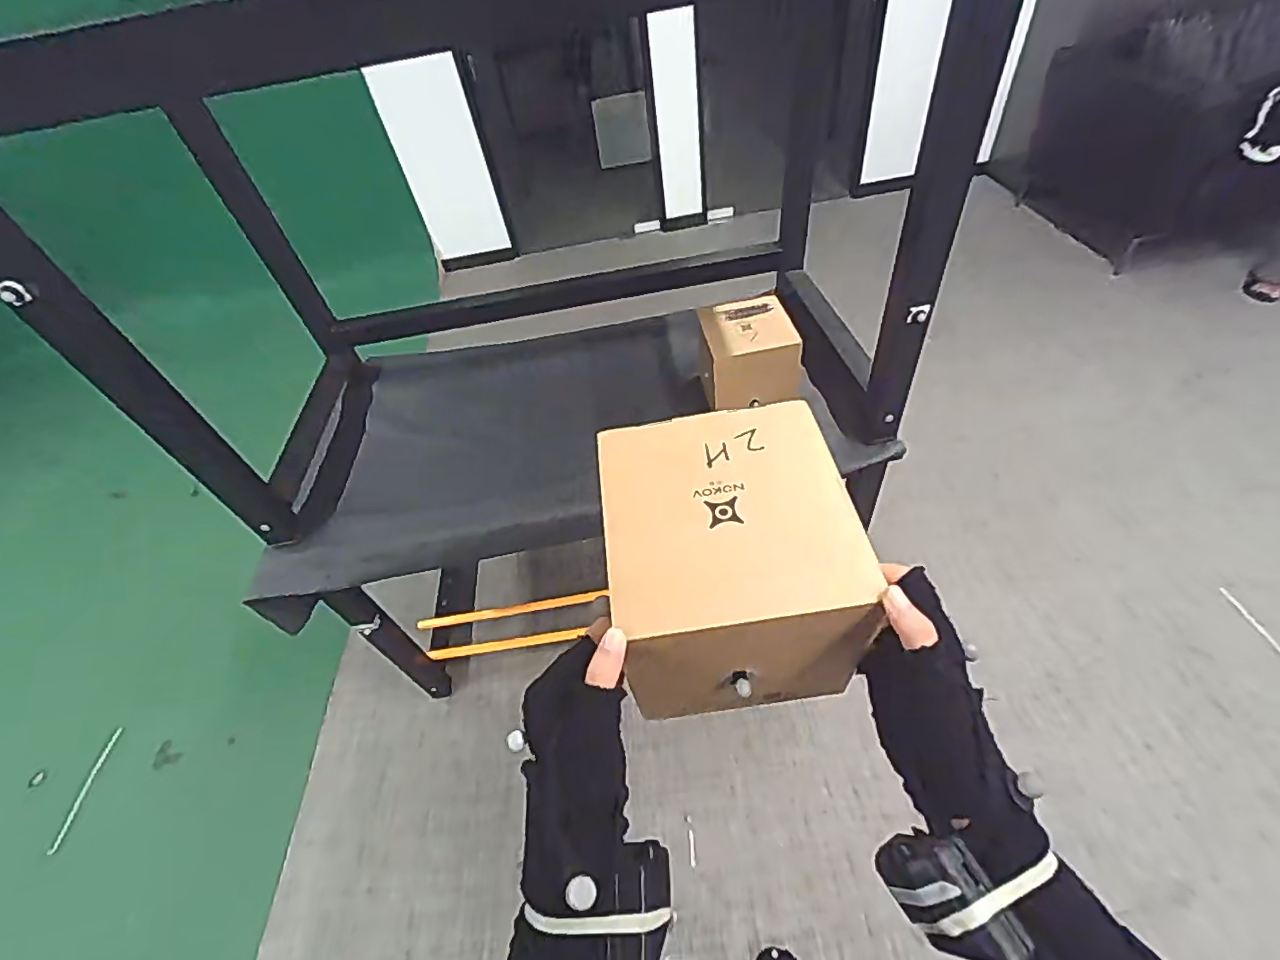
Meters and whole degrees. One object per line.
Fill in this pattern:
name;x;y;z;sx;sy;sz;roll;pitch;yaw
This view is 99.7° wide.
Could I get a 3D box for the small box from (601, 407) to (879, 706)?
small box;0.066;0.070;0.439;0.168;0.176;0.179;-9;50;1
